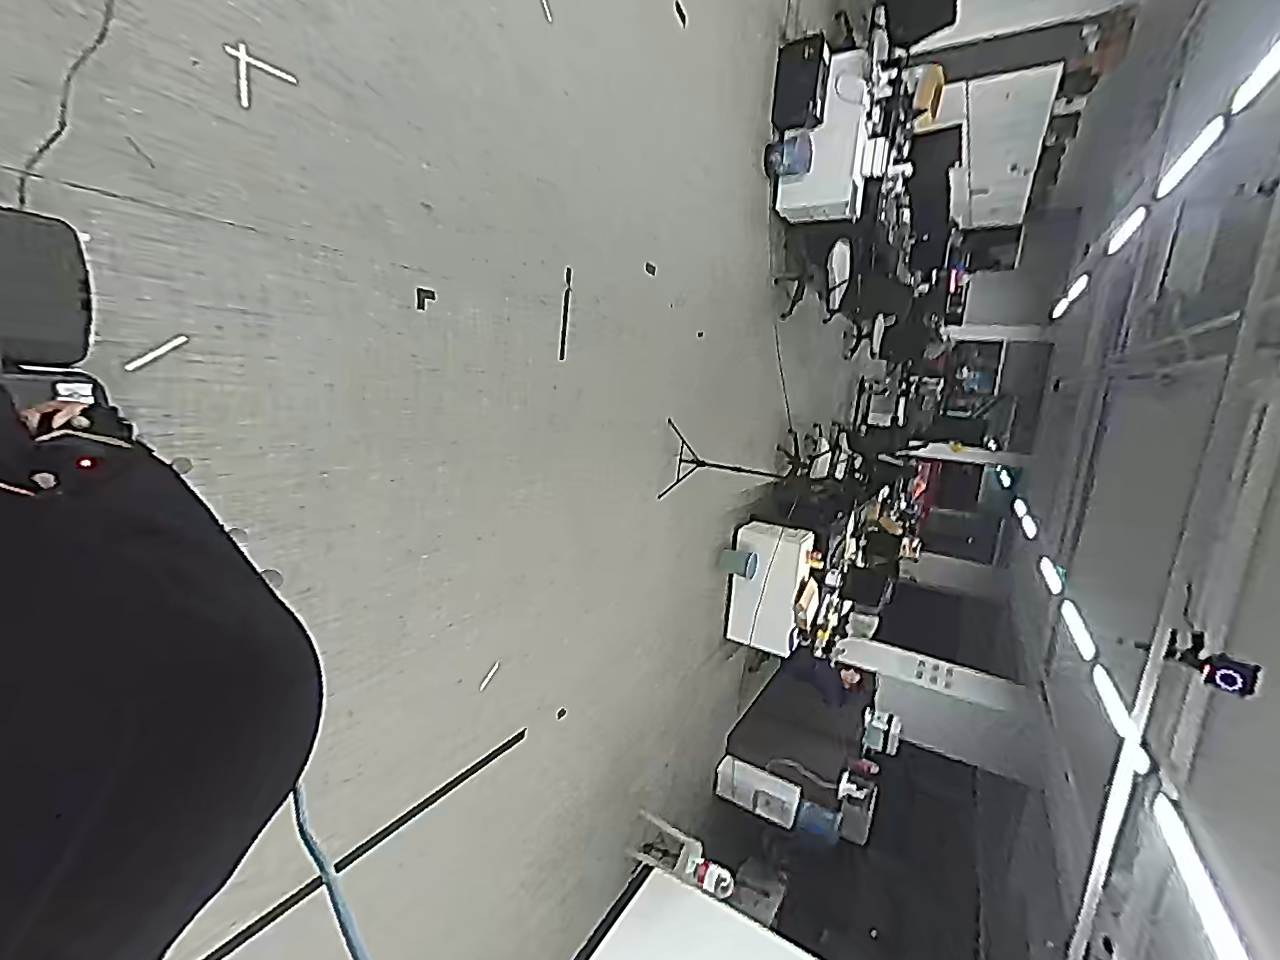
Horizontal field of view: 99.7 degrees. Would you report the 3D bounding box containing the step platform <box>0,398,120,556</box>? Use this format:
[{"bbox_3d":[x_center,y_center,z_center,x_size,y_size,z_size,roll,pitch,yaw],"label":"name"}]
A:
[{"bbox_3d":[-1.280,-0.009,0.839,0.684,0.204,0.286,-1,98,-57],"label":"step platform"}]
